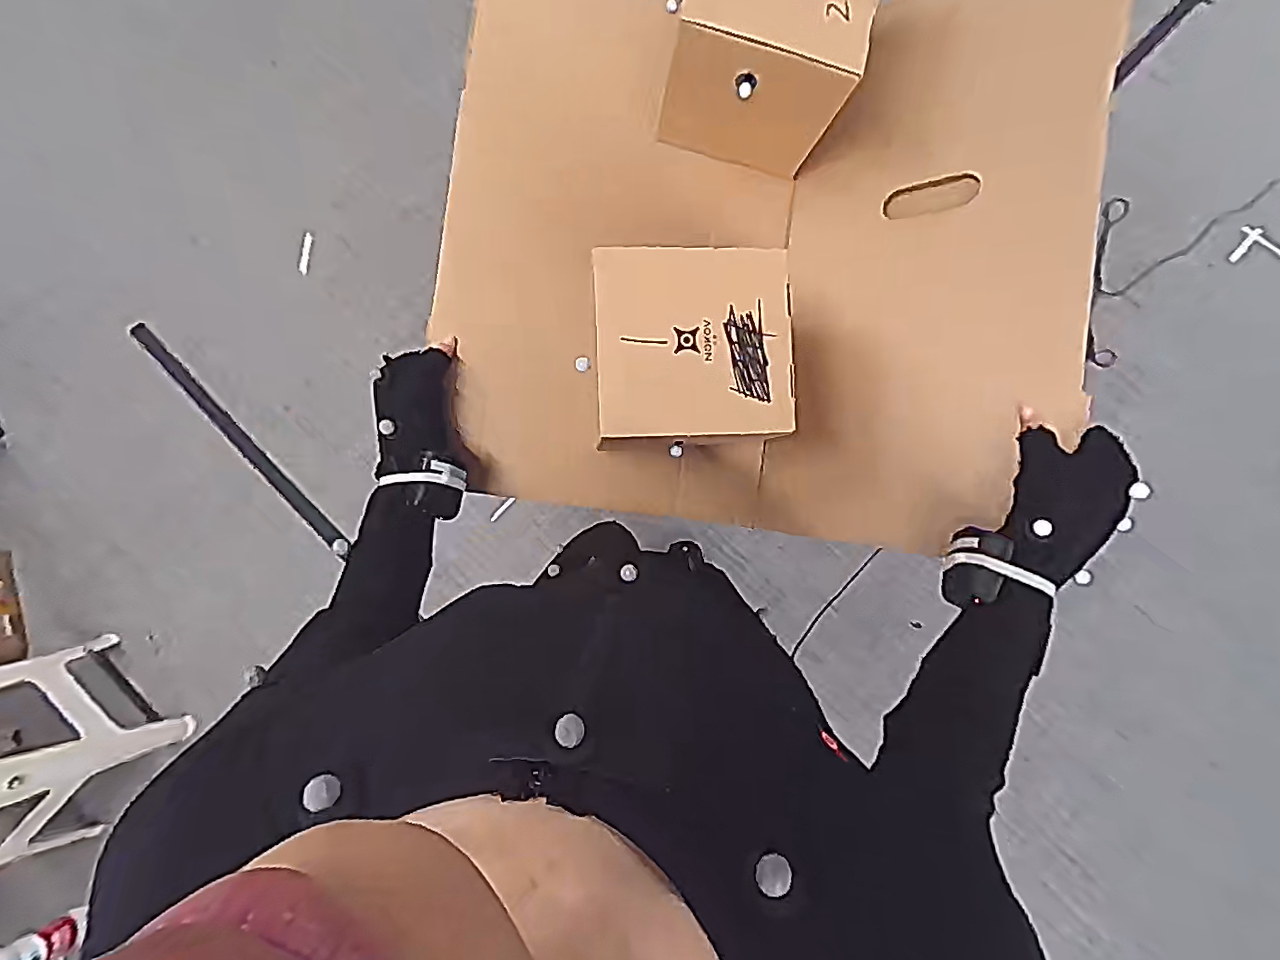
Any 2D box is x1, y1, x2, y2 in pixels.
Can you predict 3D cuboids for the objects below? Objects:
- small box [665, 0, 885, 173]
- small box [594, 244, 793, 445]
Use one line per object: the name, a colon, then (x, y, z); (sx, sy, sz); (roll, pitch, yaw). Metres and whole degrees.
small box: (0.135, -0.463, 0.571); (0.179, 0.176, 0.168); (14, 89, -7)
small box: (0.043, -0.125, 0.560); (0.179, 0.176, 0.168); (-1, 90, -6)
